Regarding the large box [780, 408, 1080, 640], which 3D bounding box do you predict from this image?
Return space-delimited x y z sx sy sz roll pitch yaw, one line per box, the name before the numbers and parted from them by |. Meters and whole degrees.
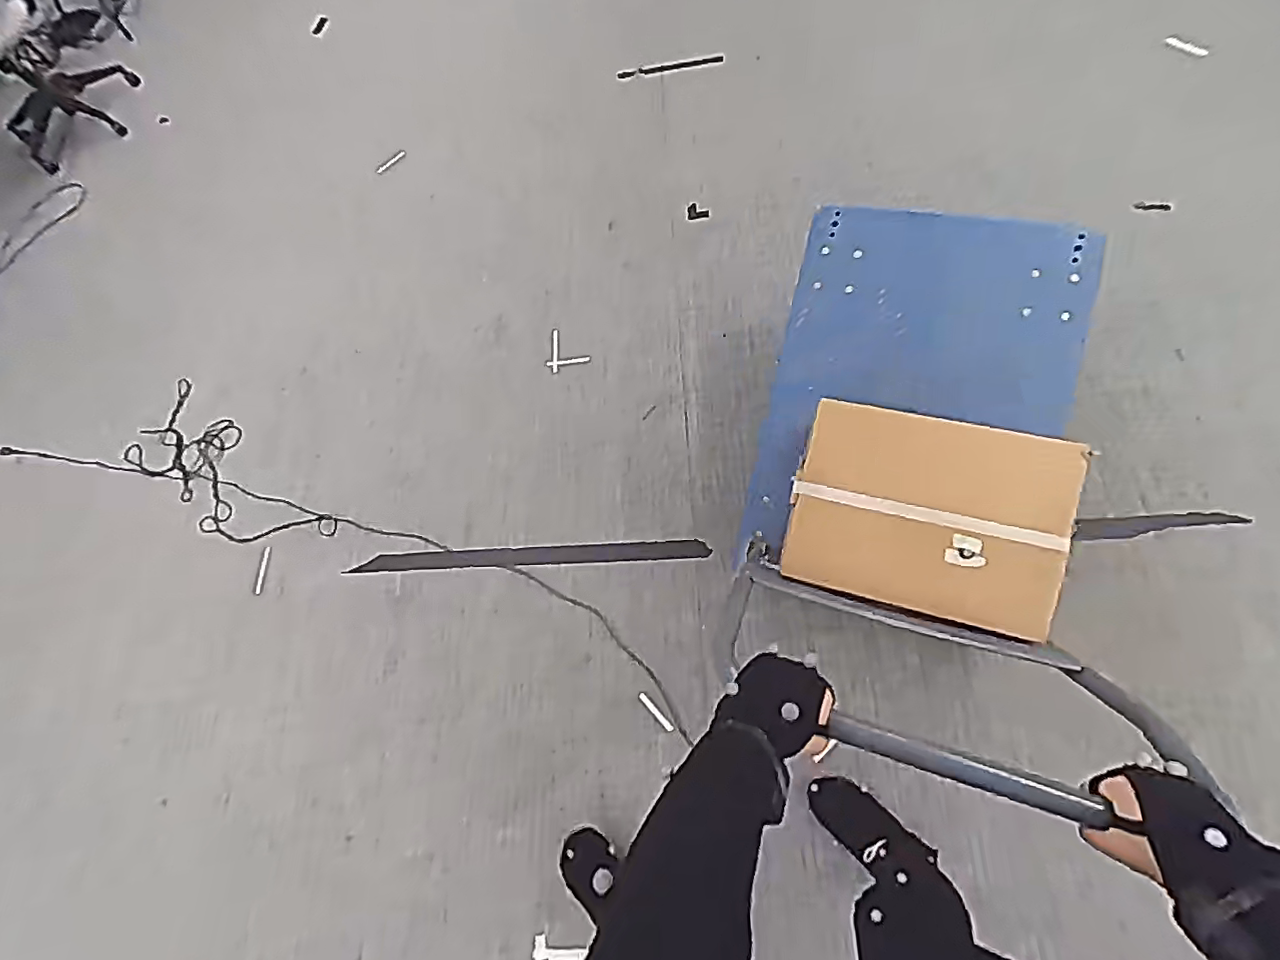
large box | 0.500 0.070 1.033 0.408 0.320 0.320 13 91 14
